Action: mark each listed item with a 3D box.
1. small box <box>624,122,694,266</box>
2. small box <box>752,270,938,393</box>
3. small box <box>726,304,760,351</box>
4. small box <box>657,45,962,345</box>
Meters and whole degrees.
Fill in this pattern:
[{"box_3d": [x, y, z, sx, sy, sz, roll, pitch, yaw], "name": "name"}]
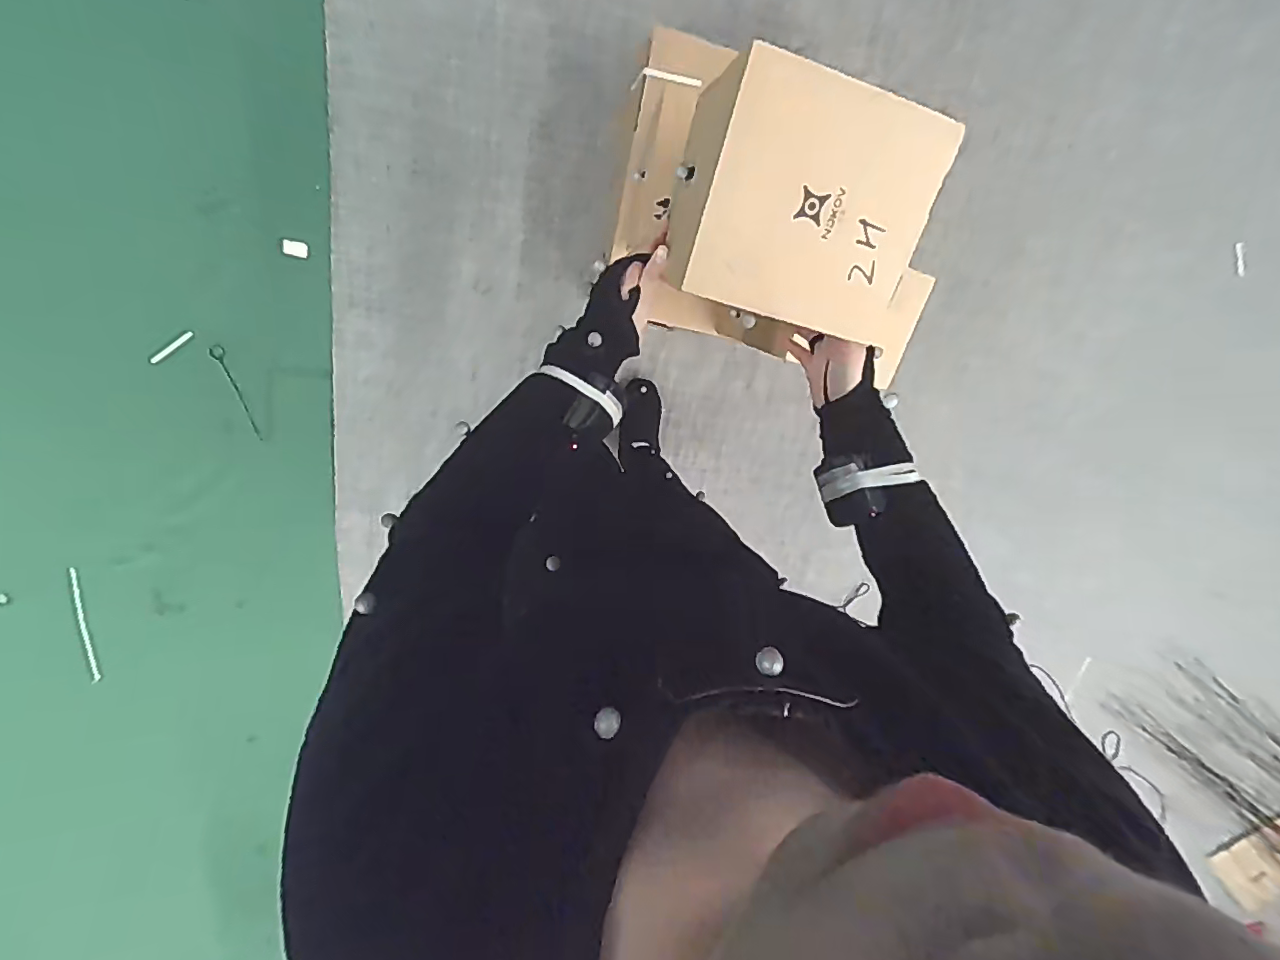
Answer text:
[{"box_3d": [0.075, -0.448, 0.898, 0.168, 0.176, 0.179, 13, 107, -10], "name": "small box"}, {"box_3d": [0.298, -0.247, 0.825, 0.179, 0.176, 0.168, 13, 108, -12], "name": "small box"}, {"box_3d": [0.269, -0.312, 0.971, 0.168, 0.176, 0.179, 12, 107, -13], "name": "small box"}, {"box_3d": [0.124, -0.235, 0.480, 0.179, 0.176, 0.168, 12, 113, -12], "name": "small box"}]
